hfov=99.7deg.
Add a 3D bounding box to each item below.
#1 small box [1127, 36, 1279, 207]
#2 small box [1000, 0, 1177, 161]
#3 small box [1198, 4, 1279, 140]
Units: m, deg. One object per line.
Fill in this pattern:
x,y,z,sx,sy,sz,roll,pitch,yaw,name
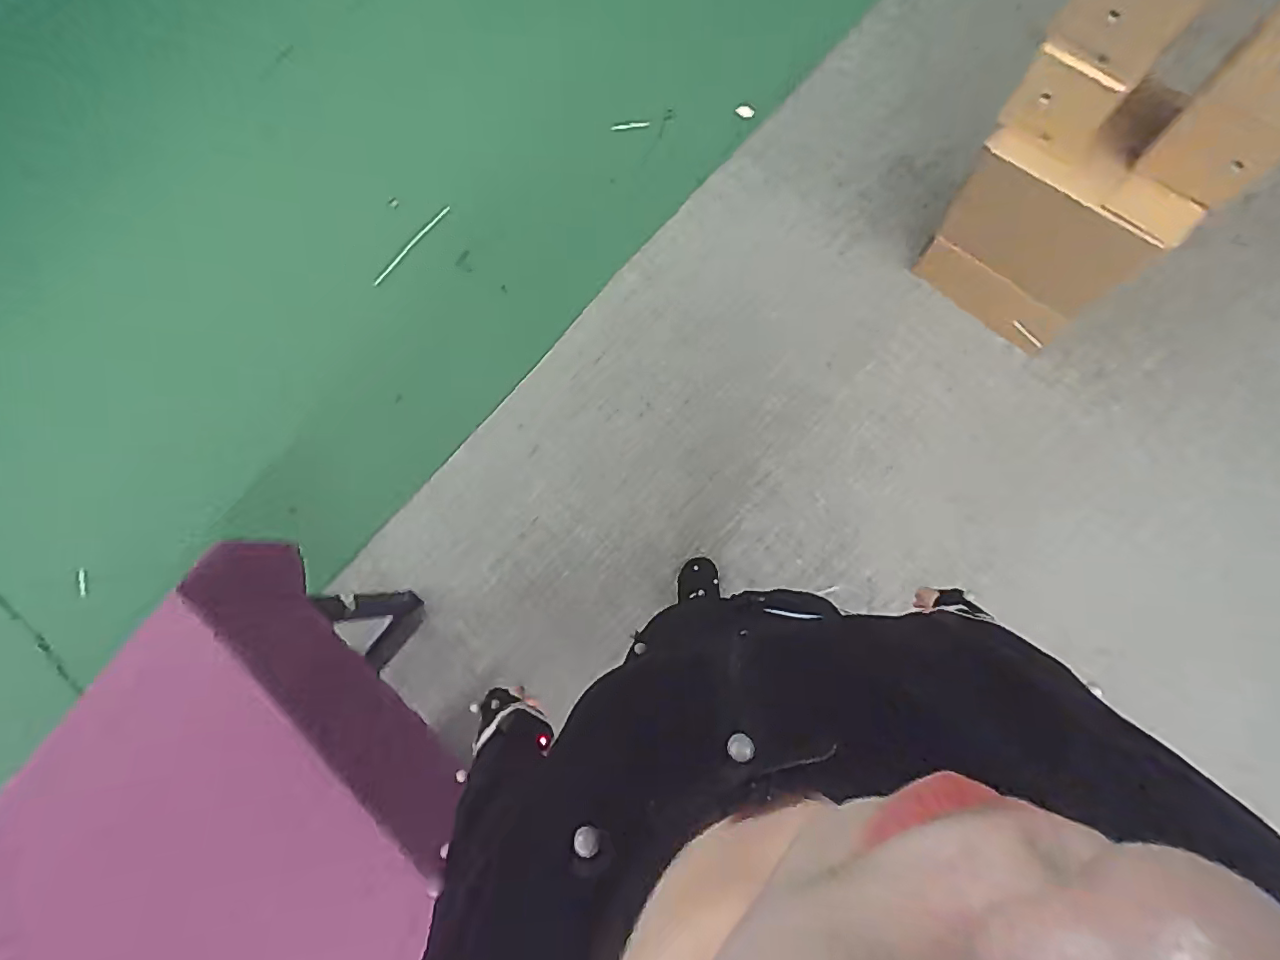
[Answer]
1.072,-0.640,0.989,0.179,0.176,0.168,41,87,15,small box
0.843,-0.770,1.044,0.168,0.176,0.179,43,88,12,small box
1.050,-0.669,0.829,0.179,0.176,0.168,42,87,15,small box
